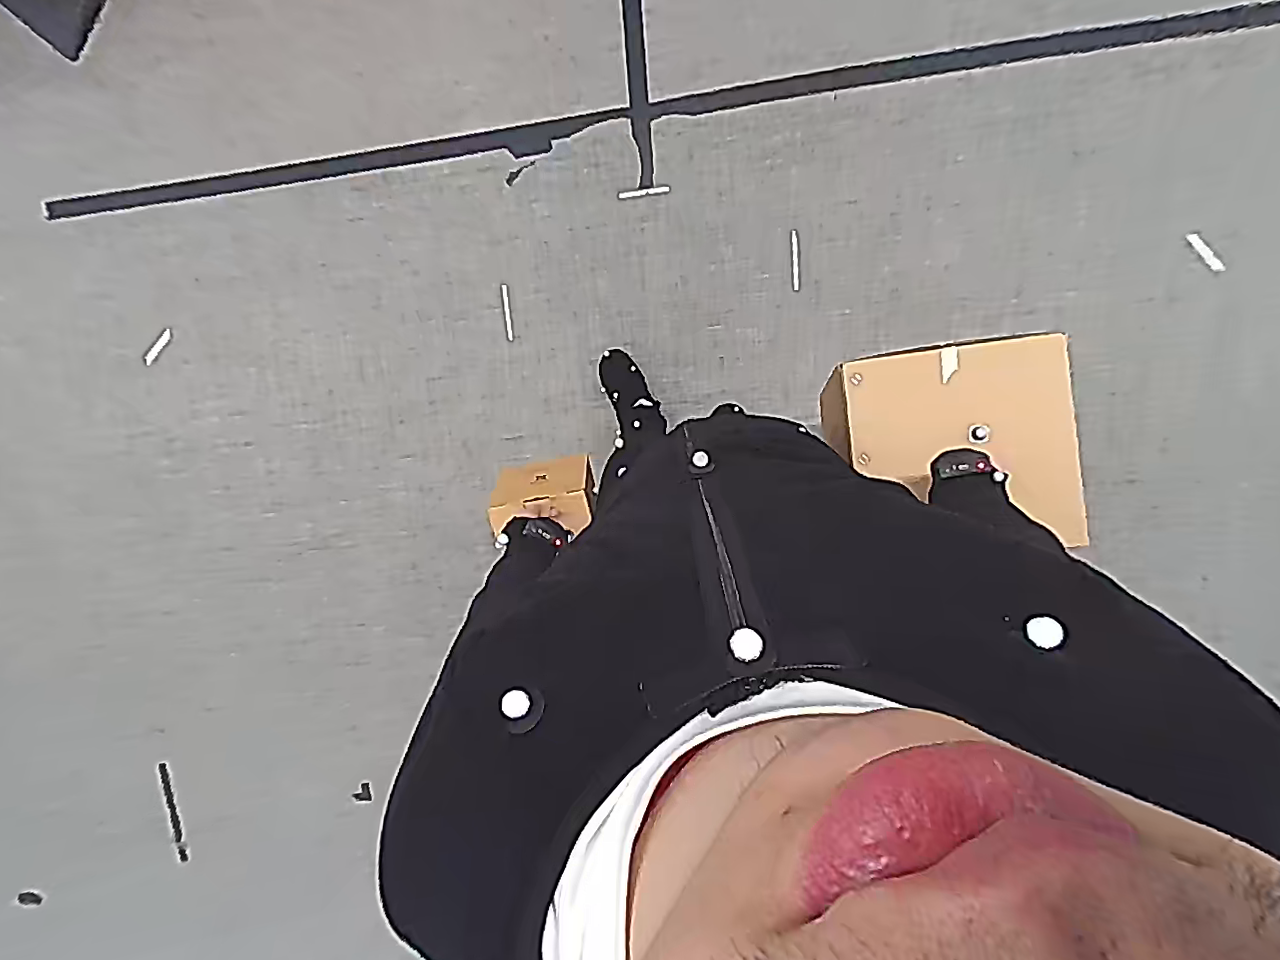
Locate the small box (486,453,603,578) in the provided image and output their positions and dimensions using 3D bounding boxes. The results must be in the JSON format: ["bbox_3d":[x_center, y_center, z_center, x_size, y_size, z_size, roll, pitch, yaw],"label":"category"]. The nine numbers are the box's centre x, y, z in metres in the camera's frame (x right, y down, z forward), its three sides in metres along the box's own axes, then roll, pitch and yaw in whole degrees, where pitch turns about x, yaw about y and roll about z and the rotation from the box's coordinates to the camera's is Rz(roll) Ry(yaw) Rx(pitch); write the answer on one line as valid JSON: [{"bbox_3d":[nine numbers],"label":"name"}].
[{"bbox_3d":[-0.165,0.068,0.997,0.168,0.179,0.176,-11,111,1],"label":"small box"}]
